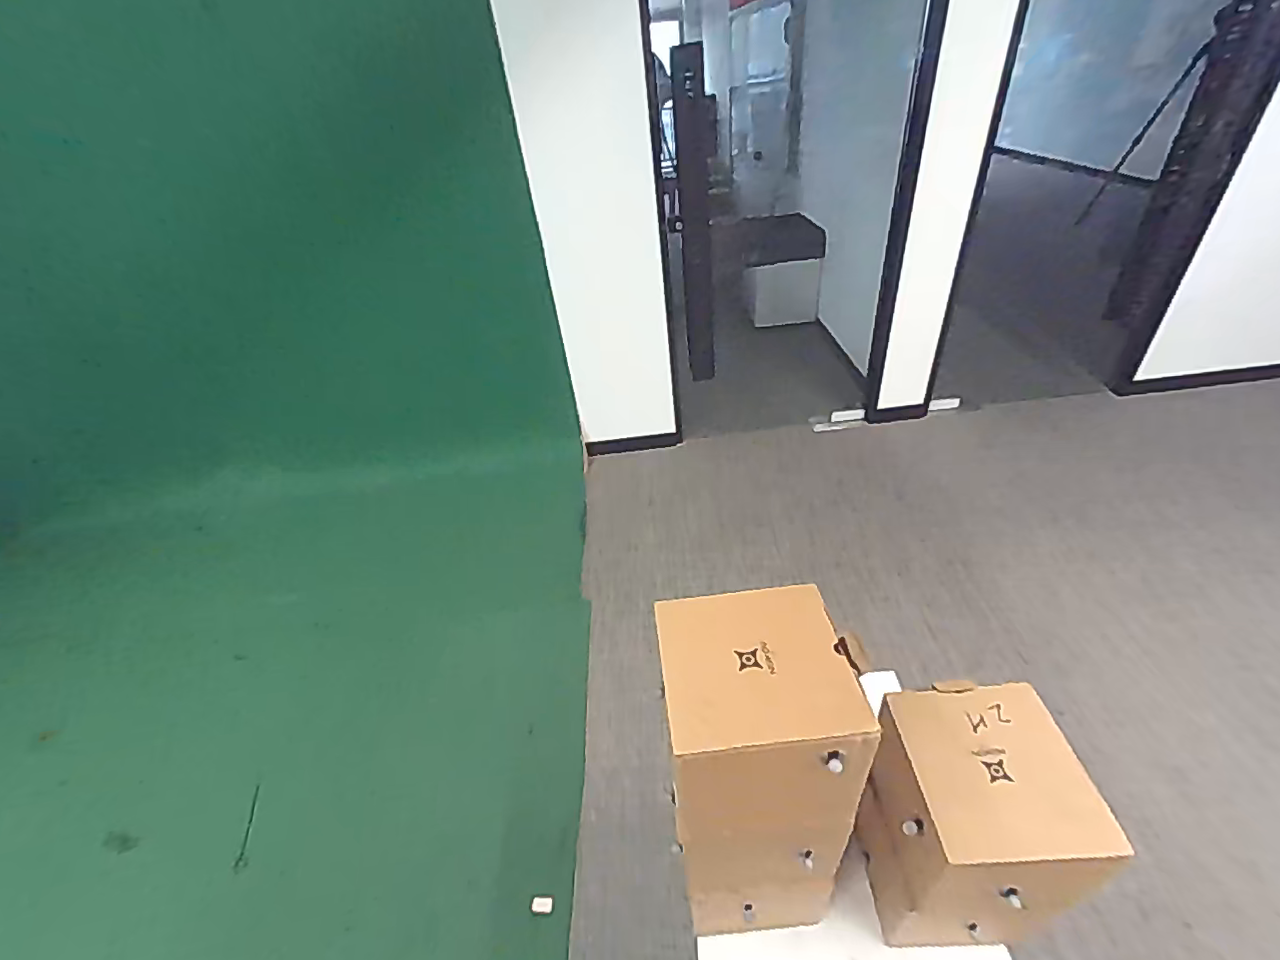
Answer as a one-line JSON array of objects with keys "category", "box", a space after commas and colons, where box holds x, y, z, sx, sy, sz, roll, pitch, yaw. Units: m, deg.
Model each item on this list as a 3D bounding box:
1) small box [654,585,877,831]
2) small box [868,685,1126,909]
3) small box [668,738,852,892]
[{"category": "small box", "box": [0.114, 0.234, 0.556, 0.179, 0.176, 0.168, -6, 37, -1]}, {"category": "small box", "box": [0.375, 0.360, 0.612, 0.168, 0.176, 0.179, -5, 38, 4]}, {"category": "small box", "box": [0.129, 0.365, 0.652, 0.179, 0.176, 0.168, -7, 36, -1]}]
